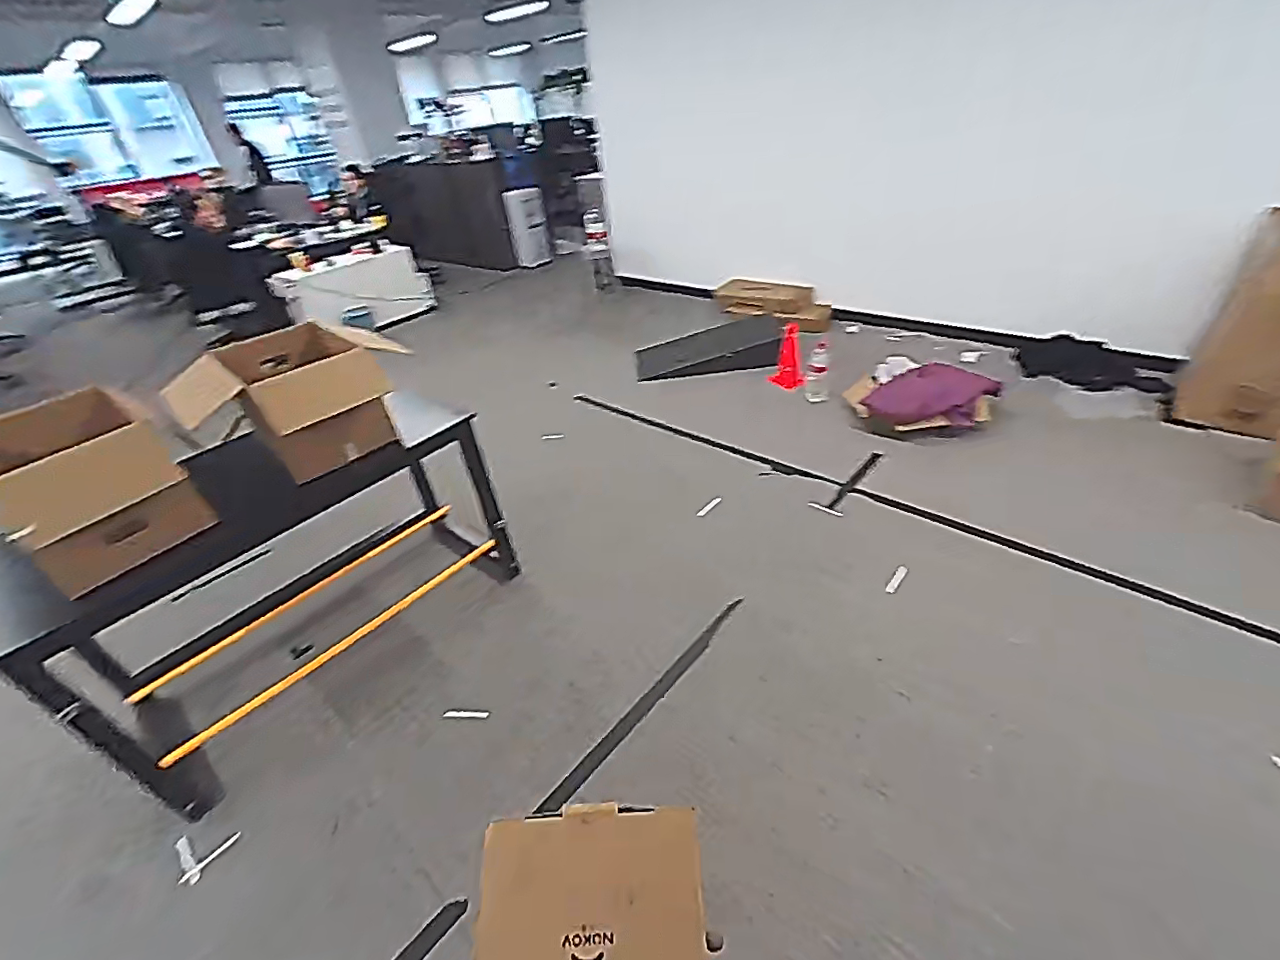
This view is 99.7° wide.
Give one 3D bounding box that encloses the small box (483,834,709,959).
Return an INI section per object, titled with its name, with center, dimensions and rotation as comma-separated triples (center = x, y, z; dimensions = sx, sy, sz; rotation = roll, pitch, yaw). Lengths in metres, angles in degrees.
[small box]
center = -0.028, 0.405, 0.438
dimensions = 0.168, 0.176, 0.179
rotation = -5, 52, 0
